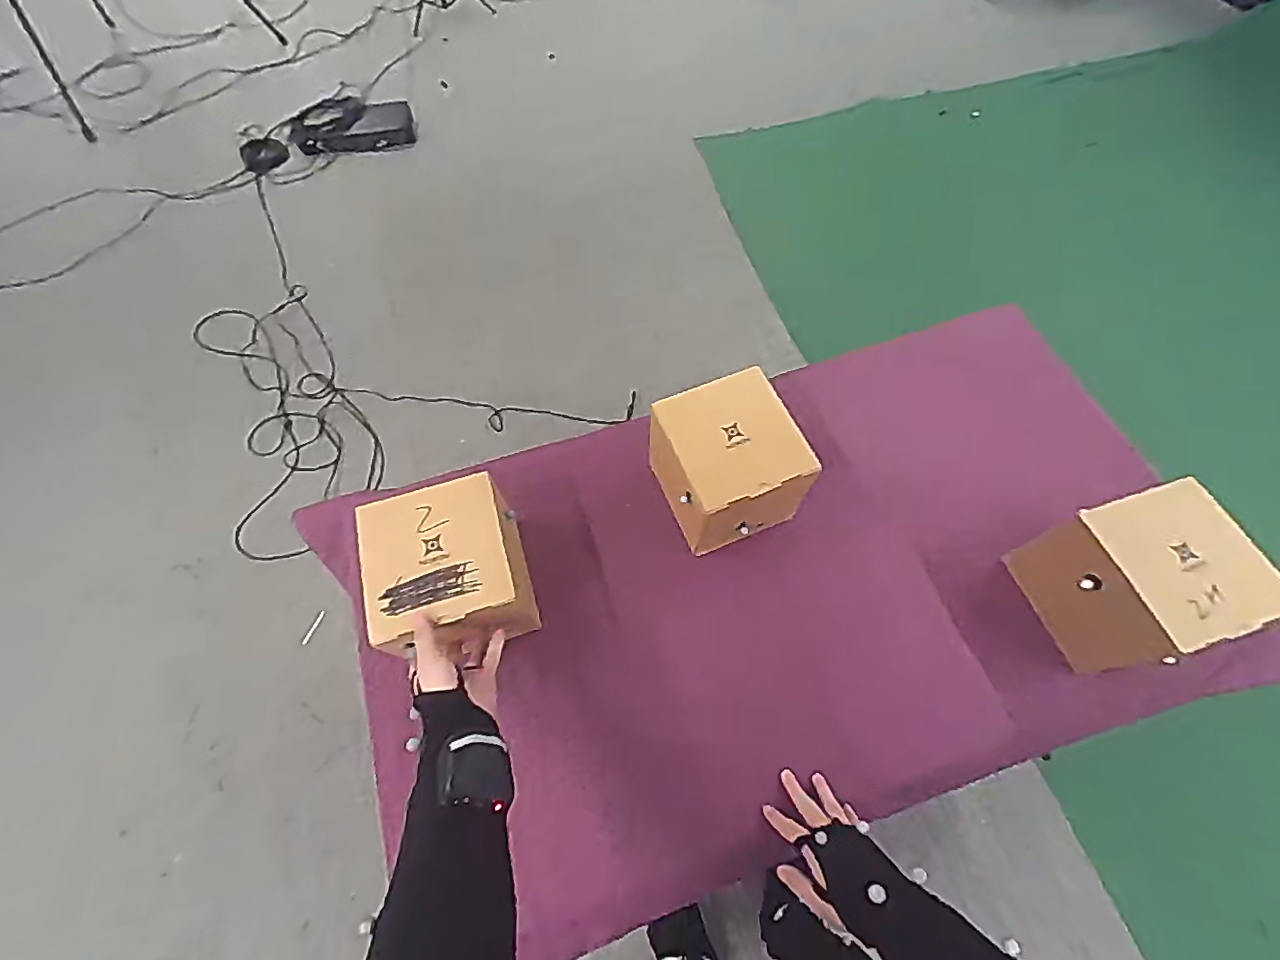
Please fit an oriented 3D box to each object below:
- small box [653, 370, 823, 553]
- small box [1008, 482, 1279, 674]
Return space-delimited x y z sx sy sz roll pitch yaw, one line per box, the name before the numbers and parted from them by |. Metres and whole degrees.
small box | 0.124 -0.020 0.774 0.168 0.176 0.179 -21 67 -10
small box | 0.629 0.131 0.694 0.168 0.176 0.179 -16 64 -6
